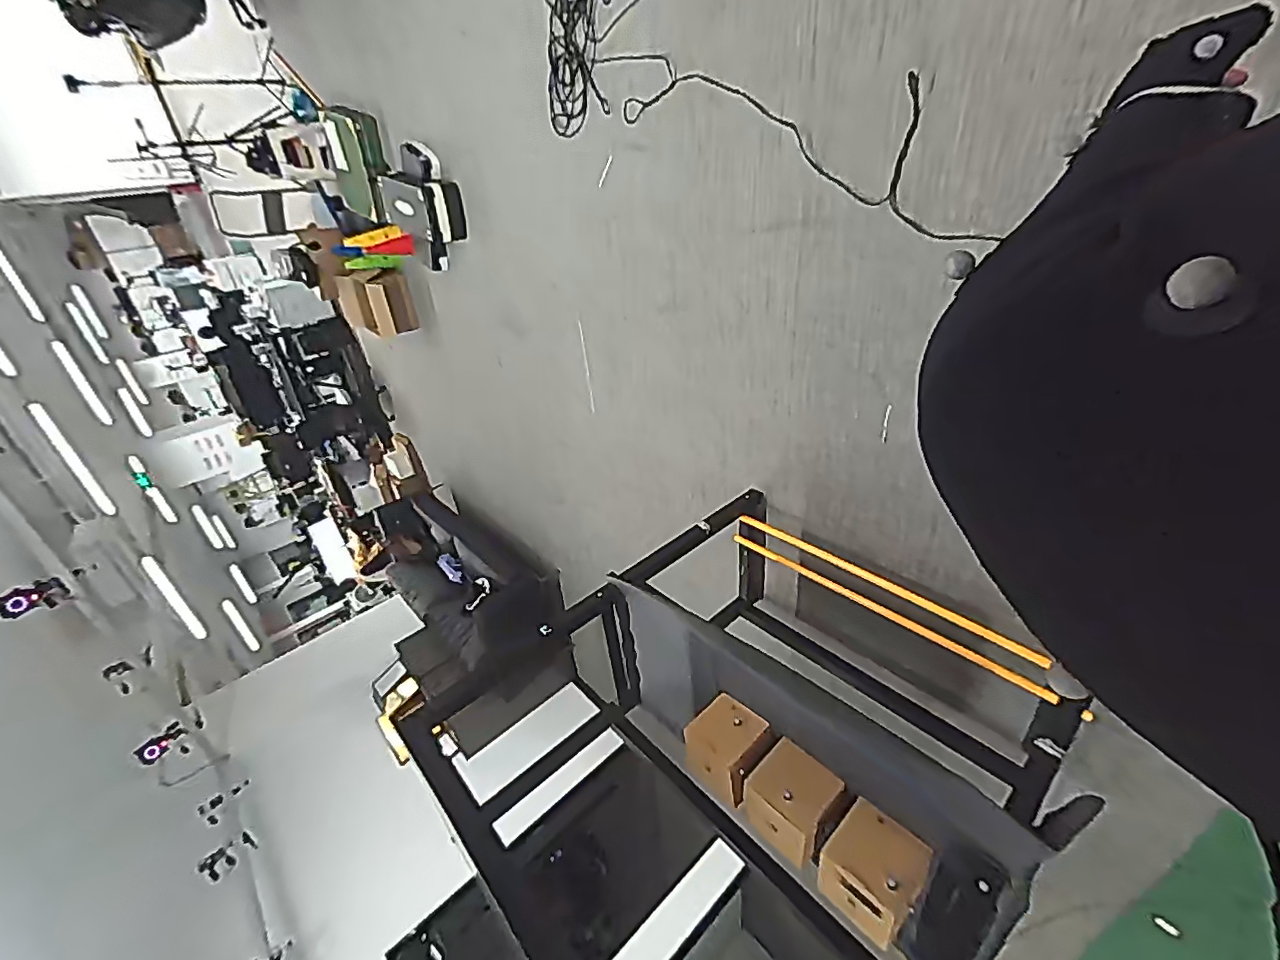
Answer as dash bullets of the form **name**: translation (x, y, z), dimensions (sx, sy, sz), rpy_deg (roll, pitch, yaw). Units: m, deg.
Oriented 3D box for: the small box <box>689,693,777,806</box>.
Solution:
- **small box**: translation (0.258, 0.724, 1.468), dimensions (0.168, 0.176, 0.179), rpy_deg (19, 129, 46)
